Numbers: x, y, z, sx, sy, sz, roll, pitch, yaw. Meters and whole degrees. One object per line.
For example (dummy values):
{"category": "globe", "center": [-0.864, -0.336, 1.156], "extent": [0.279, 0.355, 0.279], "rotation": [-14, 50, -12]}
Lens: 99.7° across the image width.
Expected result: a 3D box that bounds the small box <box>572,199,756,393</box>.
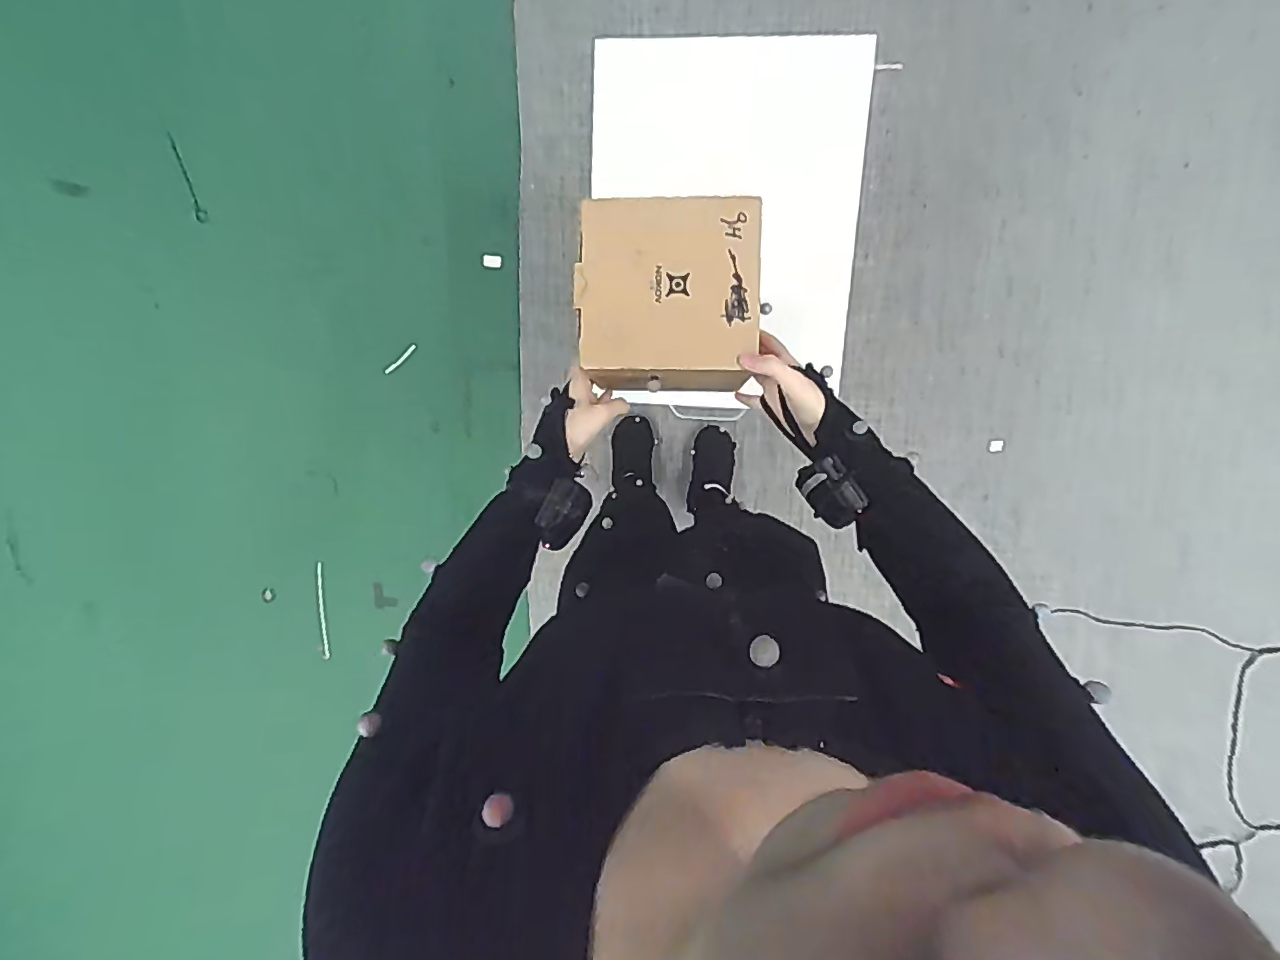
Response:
{"category": "small box", "center": [0.028, -0.190, 0.603], "extent": [0.179, 0.176, 0.168], "rotation": [2, 91, 4]}
